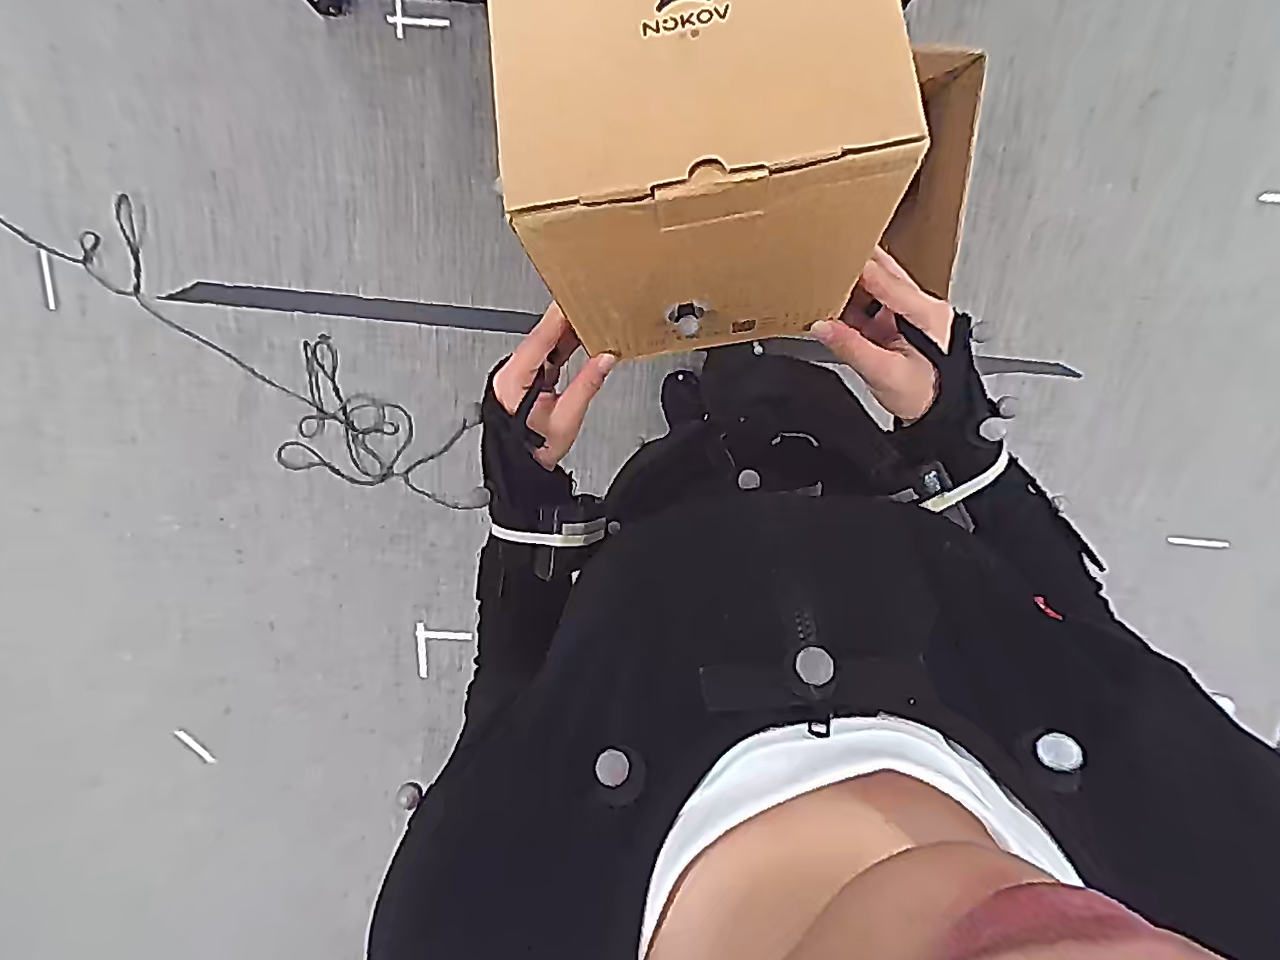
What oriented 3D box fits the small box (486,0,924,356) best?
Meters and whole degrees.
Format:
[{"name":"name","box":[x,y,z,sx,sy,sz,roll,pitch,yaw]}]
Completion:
[{"name":"small box","box":[0.026,-0.190,0.299,0.168,0.176,0.179,-8,82,7]}]
